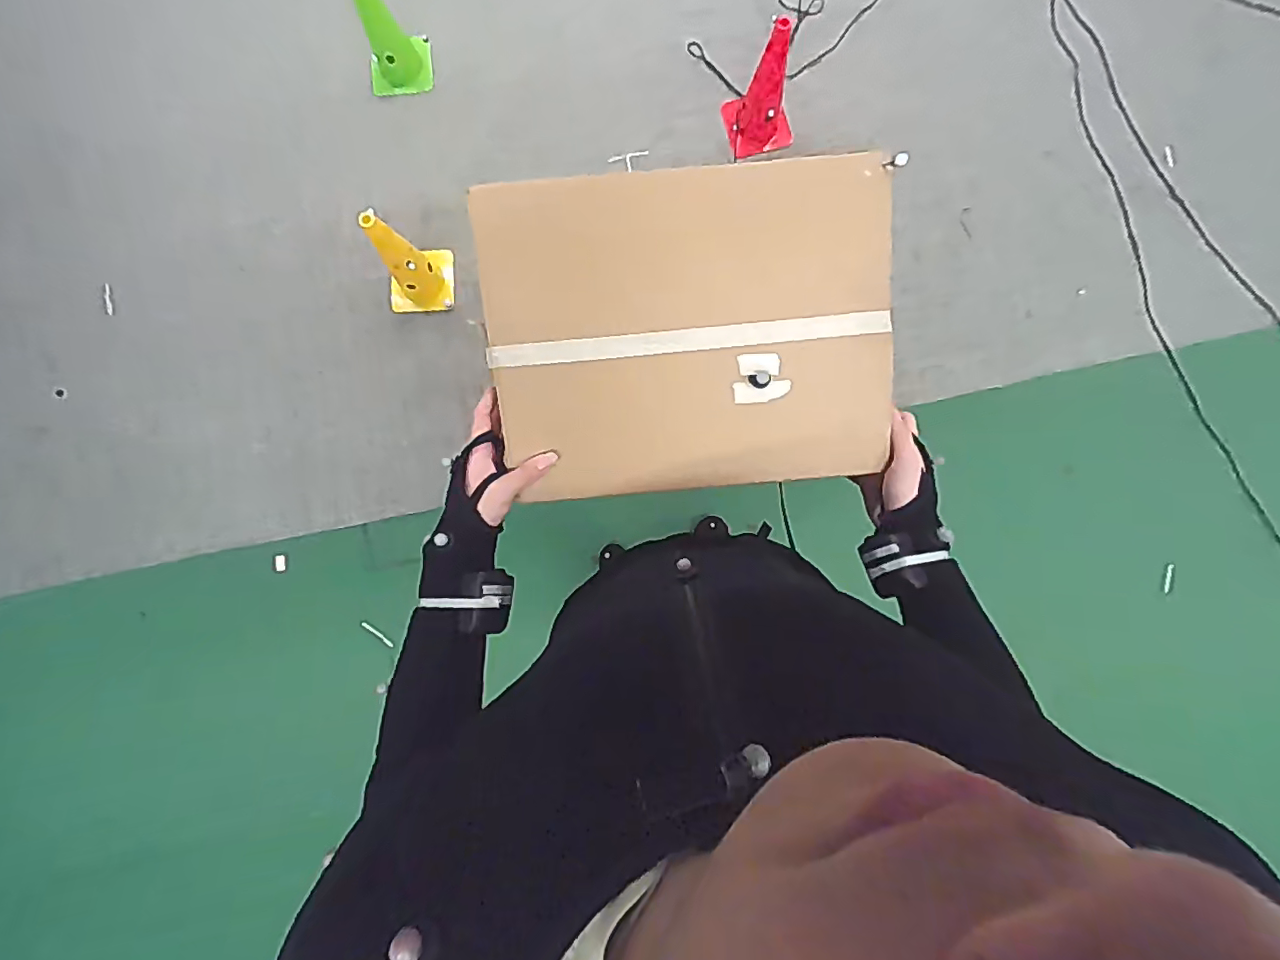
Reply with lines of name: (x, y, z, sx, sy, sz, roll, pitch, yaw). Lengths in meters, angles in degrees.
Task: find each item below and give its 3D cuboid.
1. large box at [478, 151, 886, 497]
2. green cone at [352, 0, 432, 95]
large box: (0.048, -0.180, 0.698, 0.408, 0.320, 0.320, -5, 103, -1)
green cone: (-0.801, -1.393, 1.623, 0.200, 0.368, 0.202, -6, 86, 1)
